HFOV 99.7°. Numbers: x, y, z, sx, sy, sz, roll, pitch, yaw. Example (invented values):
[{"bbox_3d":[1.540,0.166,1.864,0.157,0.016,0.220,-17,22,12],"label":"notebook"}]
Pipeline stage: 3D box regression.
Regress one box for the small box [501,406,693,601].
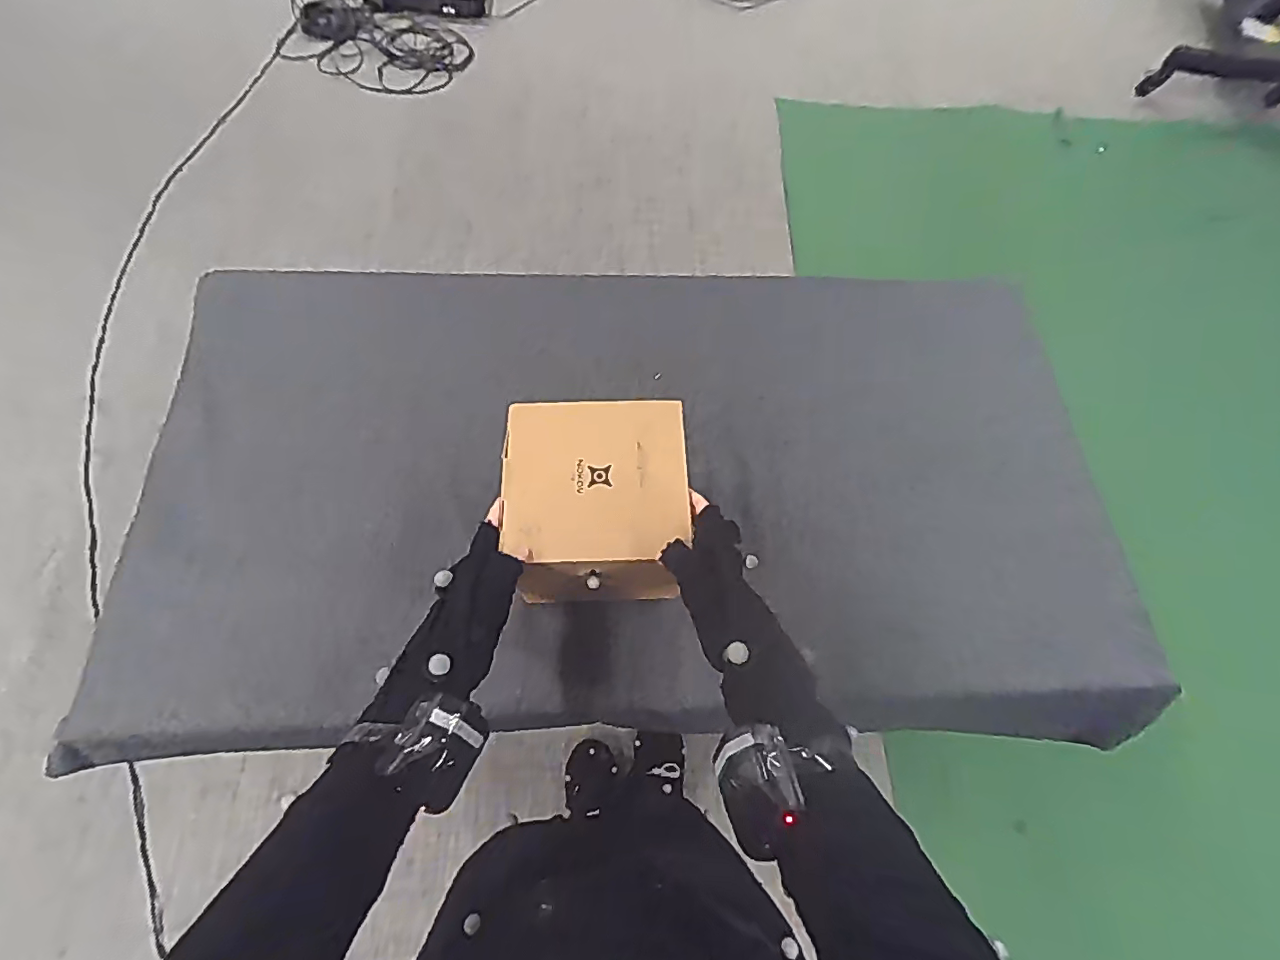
[{"bbox_3d":[-0.044,0.034,0.587,0.179,0.176,0.168,-2,68,-4],"label":"small box"}]
